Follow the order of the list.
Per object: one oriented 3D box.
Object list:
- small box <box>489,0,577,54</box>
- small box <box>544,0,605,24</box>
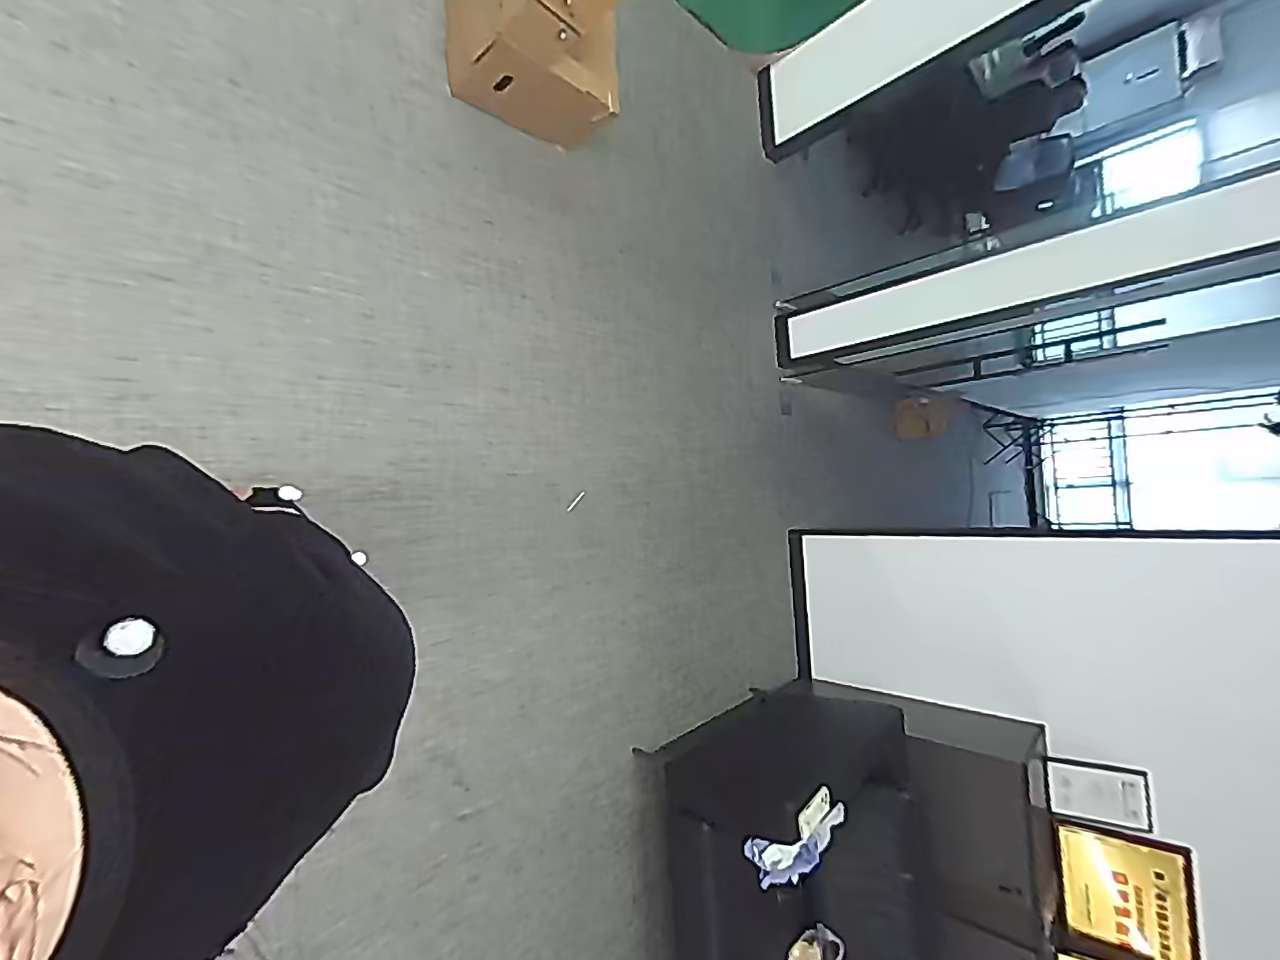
[{"bbox_3d":[-0.292,-1.321,1.477,0.179,0.176,0.168,0,87,-46],"label":"small box"},{"bbox_3d":[-0.172,-1.327,1.366,0.168,0.176,0.179,1,88,-47],"label":"small box"}]
